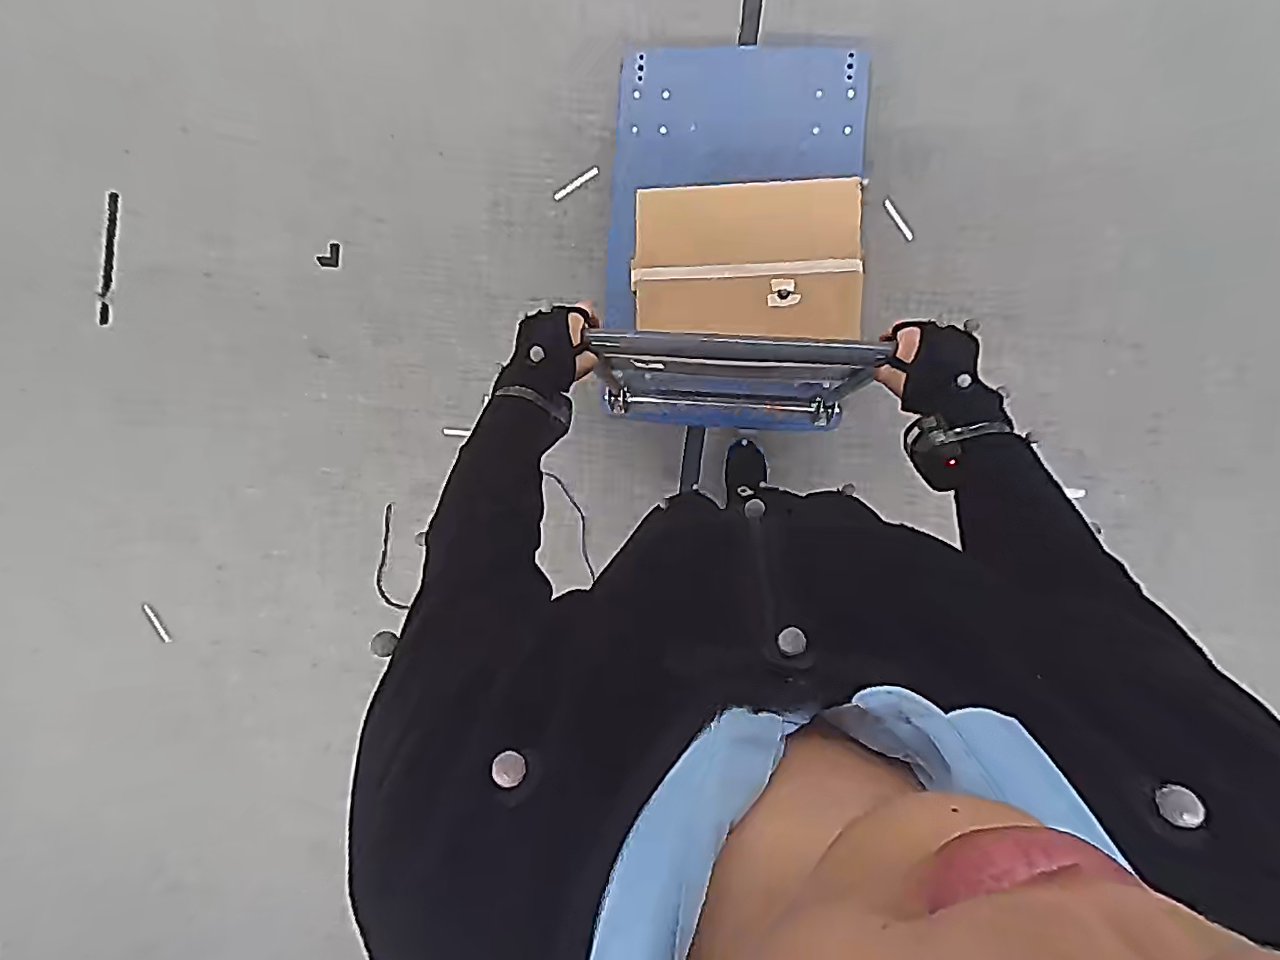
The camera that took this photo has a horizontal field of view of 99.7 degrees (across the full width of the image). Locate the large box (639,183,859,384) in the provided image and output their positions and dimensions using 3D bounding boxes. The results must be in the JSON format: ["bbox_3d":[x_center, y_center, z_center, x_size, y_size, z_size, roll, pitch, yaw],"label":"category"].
[{"bbox_3d":[0.210,-0.384,1.144,0.408,0.320,0.320,0,93,5],"label":"large box"}]
